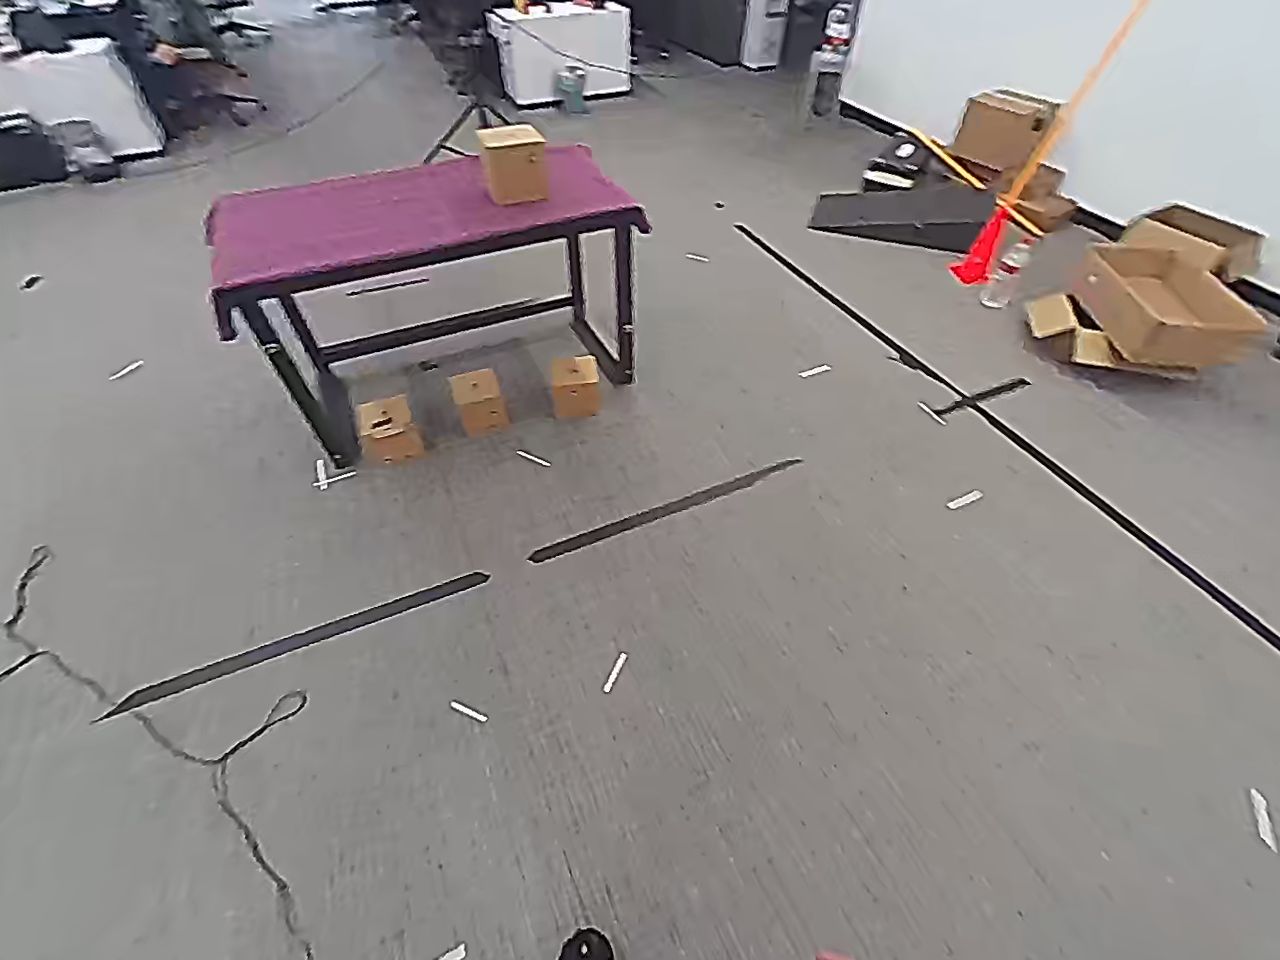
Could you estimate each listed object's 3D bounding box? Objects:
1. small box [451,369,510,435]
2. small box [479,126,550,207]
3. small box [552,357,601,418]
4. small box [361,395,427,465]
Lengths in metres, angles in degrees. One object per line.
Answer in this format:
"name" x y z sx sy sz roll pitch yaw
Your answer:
"small box" -0.610 -0.293 2.077 0.168 0.176 0.179 -17 51 -16
"small box" -0.392 -0.995 1.717 0.179 0.176 0.168 -18 51 -15
"small box" -0.249 -0.363 2.141 0.179 0.176 0.168 -7 51 -5
"small box" -0.894 -0.176 1.972 0.168 0.176 0.179 -18 51 -16
